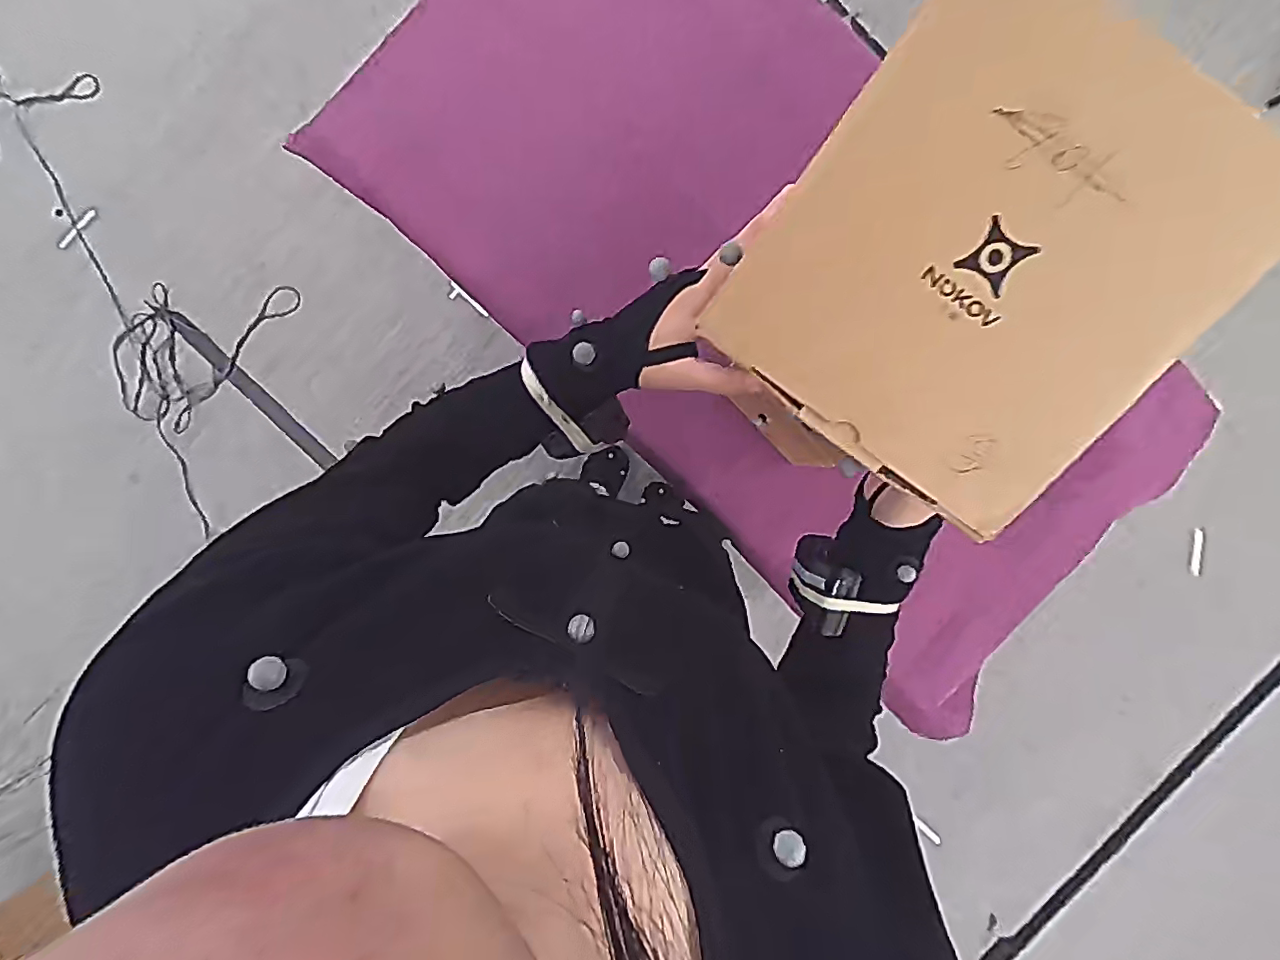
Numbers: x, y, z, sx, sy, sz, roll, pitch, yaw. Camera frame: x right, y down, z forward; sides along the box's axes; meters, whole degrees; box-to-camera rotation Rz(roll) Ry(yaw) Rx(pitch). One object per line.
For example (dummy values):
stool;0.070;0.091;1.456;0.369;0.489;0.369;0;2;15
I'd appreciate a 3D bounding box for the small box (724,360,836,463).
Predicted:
small box;0.224;-0.137;0.689;0.179;0.176;0.168;-43;92;1

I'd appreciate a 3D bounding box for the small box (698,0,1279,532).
small box;0.149;-0.107;0.292;0.168;0.176;0.179;35;105;-3
